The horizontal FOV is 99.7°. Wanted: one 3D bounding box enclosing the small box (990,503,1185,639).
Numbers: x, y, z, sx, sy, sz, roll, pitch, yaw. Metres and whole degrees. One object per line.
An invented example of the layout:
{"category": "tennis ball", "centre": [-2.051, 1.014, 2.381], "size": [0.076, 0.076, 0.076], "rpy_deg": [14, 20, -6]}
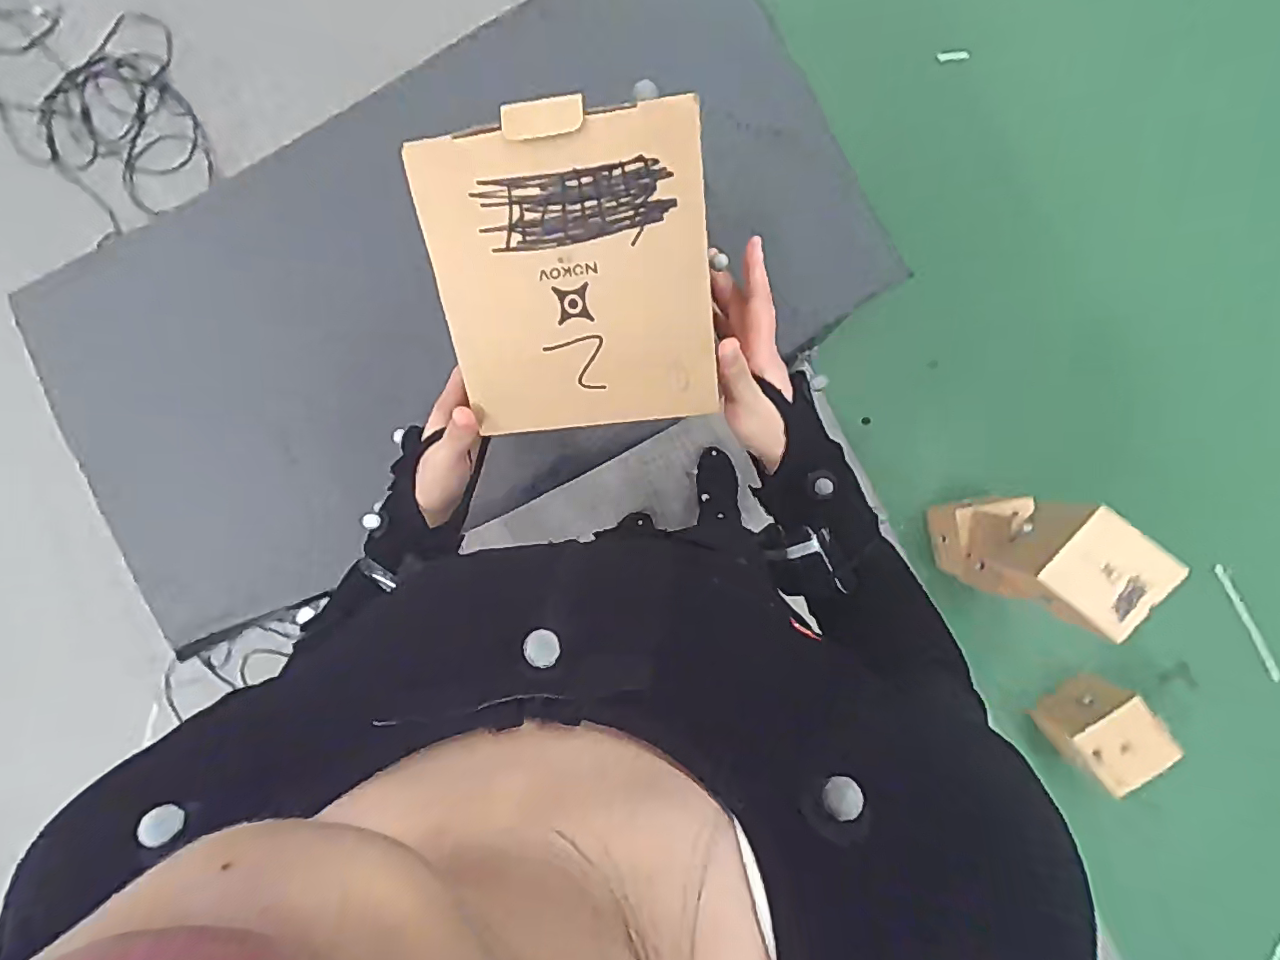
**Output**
{"category": "small box", "centre": [0.805, 0.154, 0.994], "size": [0.179, 0.176, 0.168], "rpy_deg": [40, 95, 5]}

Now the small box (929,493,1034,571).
{"category": "small box", "centre": [0.832, 0.127, 1.319], "size": [0.179, 0.176, 0.168], "rpy_deg": [-11, 90, 5]}

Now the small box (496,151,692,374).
{"category": "small box", "centre": [-0.042, -0.247, 0.670], "size": [0.168, 0.176, 0.179], "rpy_deg": [-28, 86, 5]}

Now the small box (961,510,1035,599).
{"category": "small box", "centre": [0.825, 0.160, 1.158], "size": [0.179, 0.176, 0.168], "rpy_deg": [10, 93, 5]}

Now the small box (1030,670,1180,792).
{"category": "small box", "centre": [1.102, 0.590, 1.298], "size": [0.179, 0.176, 0.168], "rpy_deg": [-37, 88, 4]}
